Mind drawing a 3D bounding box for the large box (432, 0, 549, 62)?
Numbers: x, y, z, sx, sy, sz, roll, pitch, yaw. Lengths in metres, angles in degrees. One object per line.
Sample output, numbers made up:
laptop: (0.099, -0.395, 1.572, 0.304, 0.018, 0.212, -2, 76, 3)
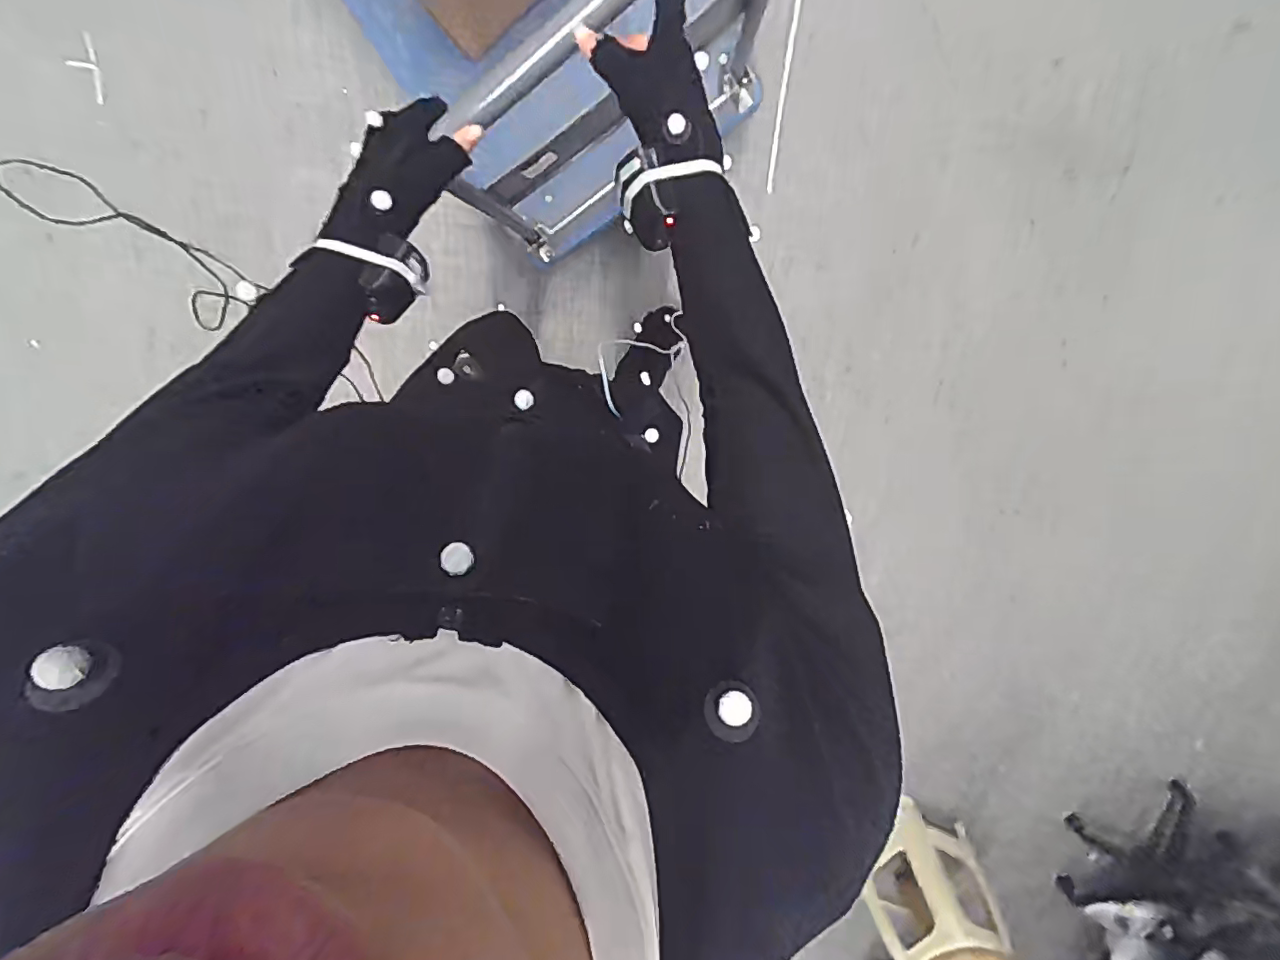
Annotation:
large box: (-0.236, -0.972, 0.820, 0.408, 0.320, 0.320, -35, 105, 14)
